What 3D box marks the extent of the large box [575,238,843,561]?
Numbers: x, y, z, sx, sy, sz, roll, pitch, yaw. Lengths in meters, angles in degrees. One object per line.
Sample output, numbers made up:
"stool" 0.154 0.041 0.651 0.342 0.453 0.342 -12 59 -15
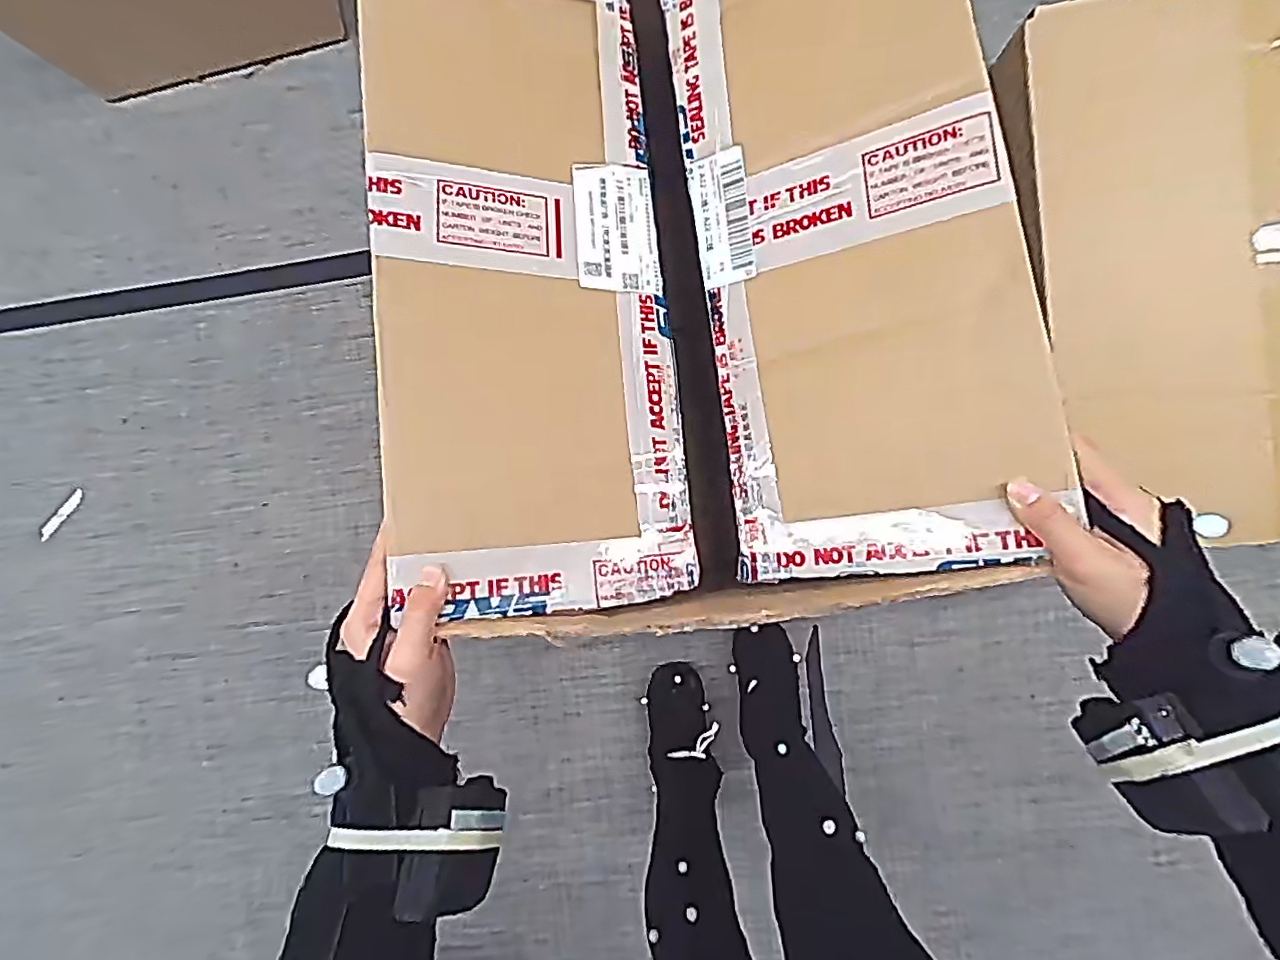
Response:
"large box" 0.100 -0.109 0.876 0.320 0.320 0.408 -8 91 5
